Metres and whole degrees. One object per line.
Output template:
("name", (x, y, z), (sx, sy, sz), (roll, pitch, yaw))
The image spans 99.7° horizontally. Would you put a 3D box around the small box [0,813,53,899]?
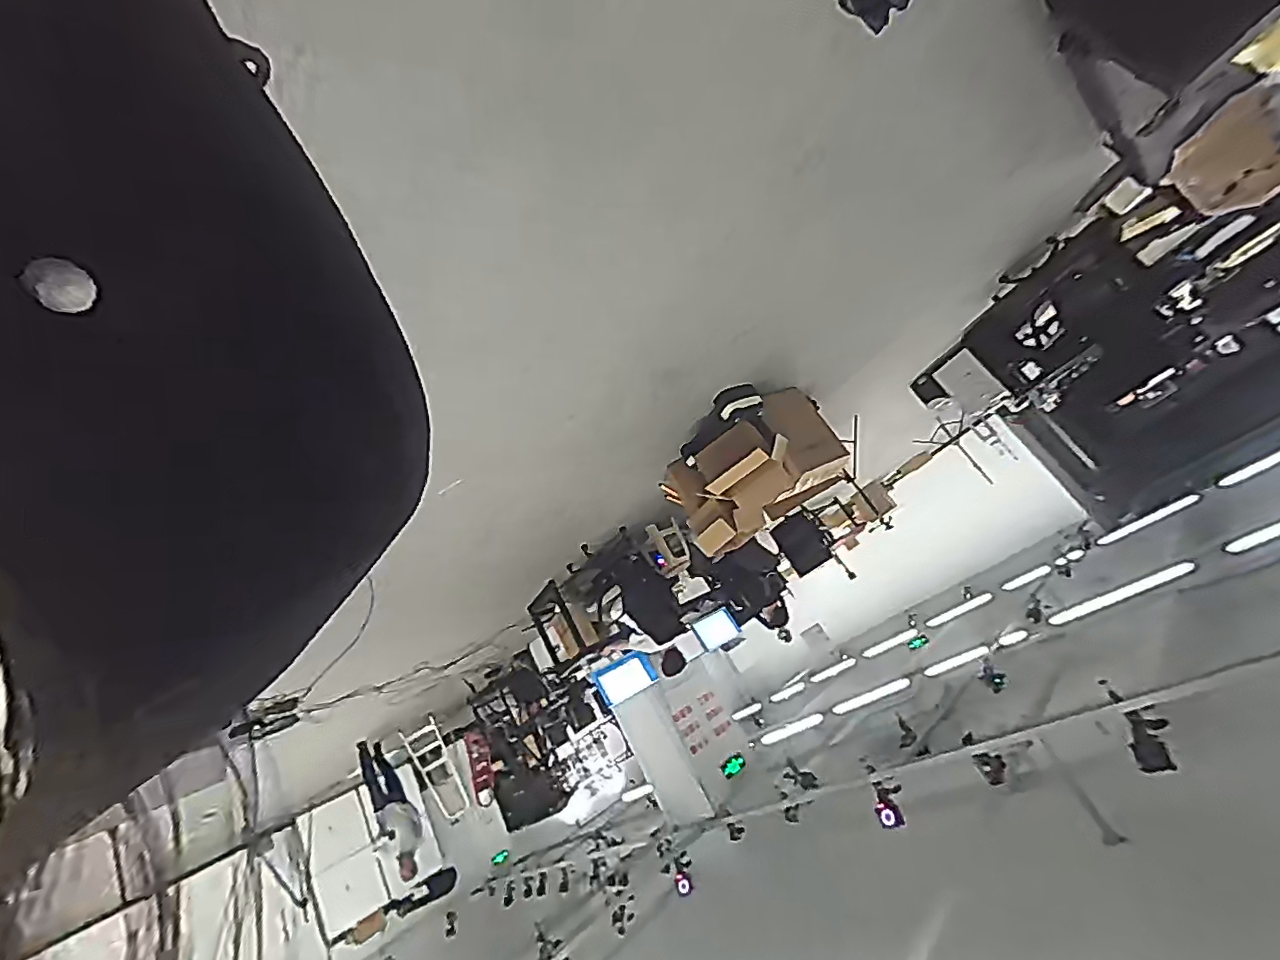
("small box", (-1.820, 1.084, 1.537), (0.168, 0.176, 0.179), (-13, 154, -42))
